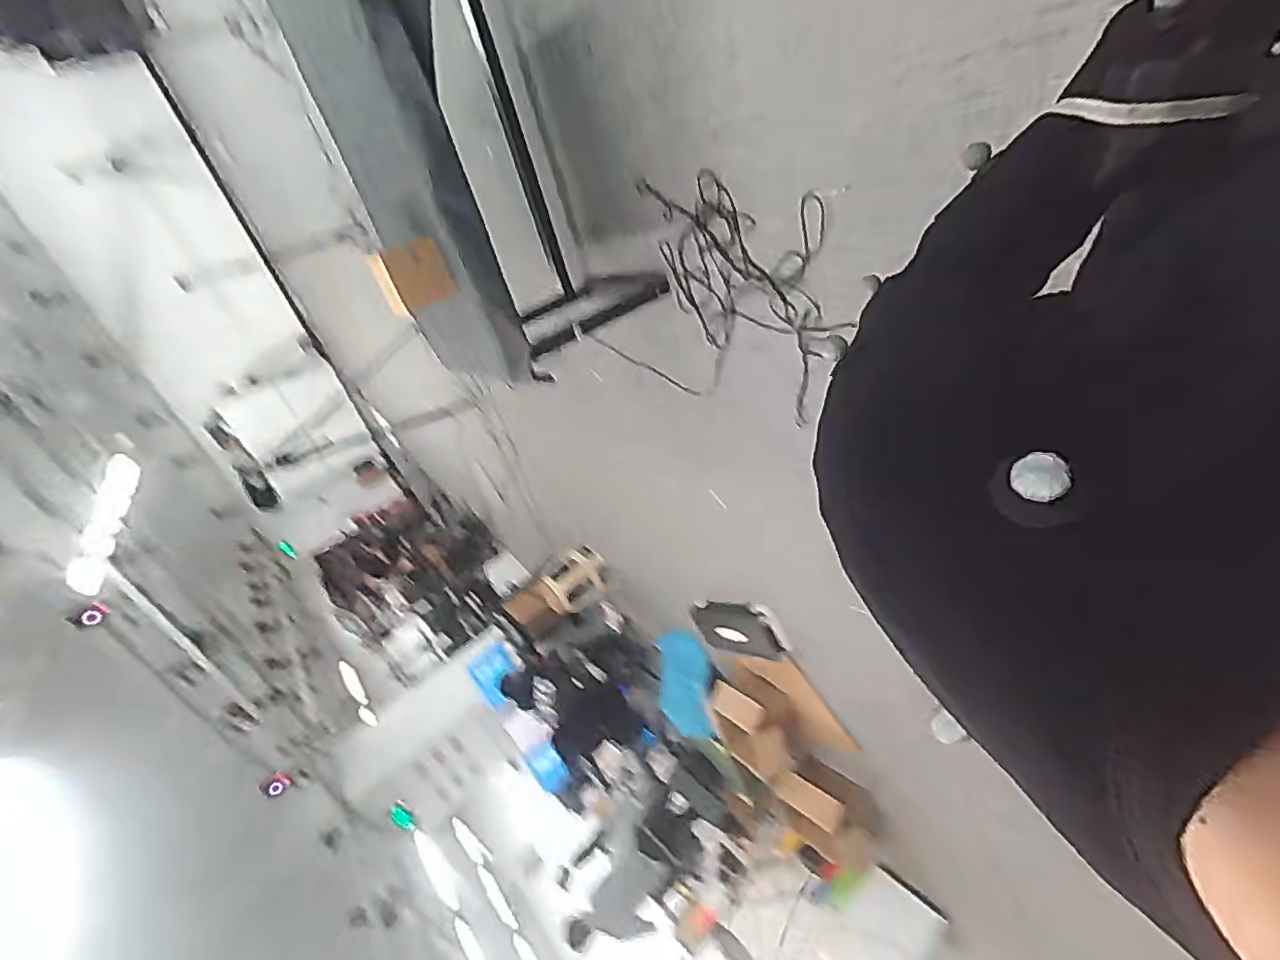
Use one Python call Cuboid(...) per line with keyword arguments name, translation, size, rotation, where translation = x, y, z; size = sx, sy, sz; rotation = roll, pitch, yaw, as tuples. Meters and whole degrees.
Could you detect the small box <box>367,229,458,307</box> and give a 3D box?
Cuboid(name="small box", translation=(-0.674, -0.633, 1.610), size=(0.168, 0.176, 0.179), rotation=(20, 137, 51))
